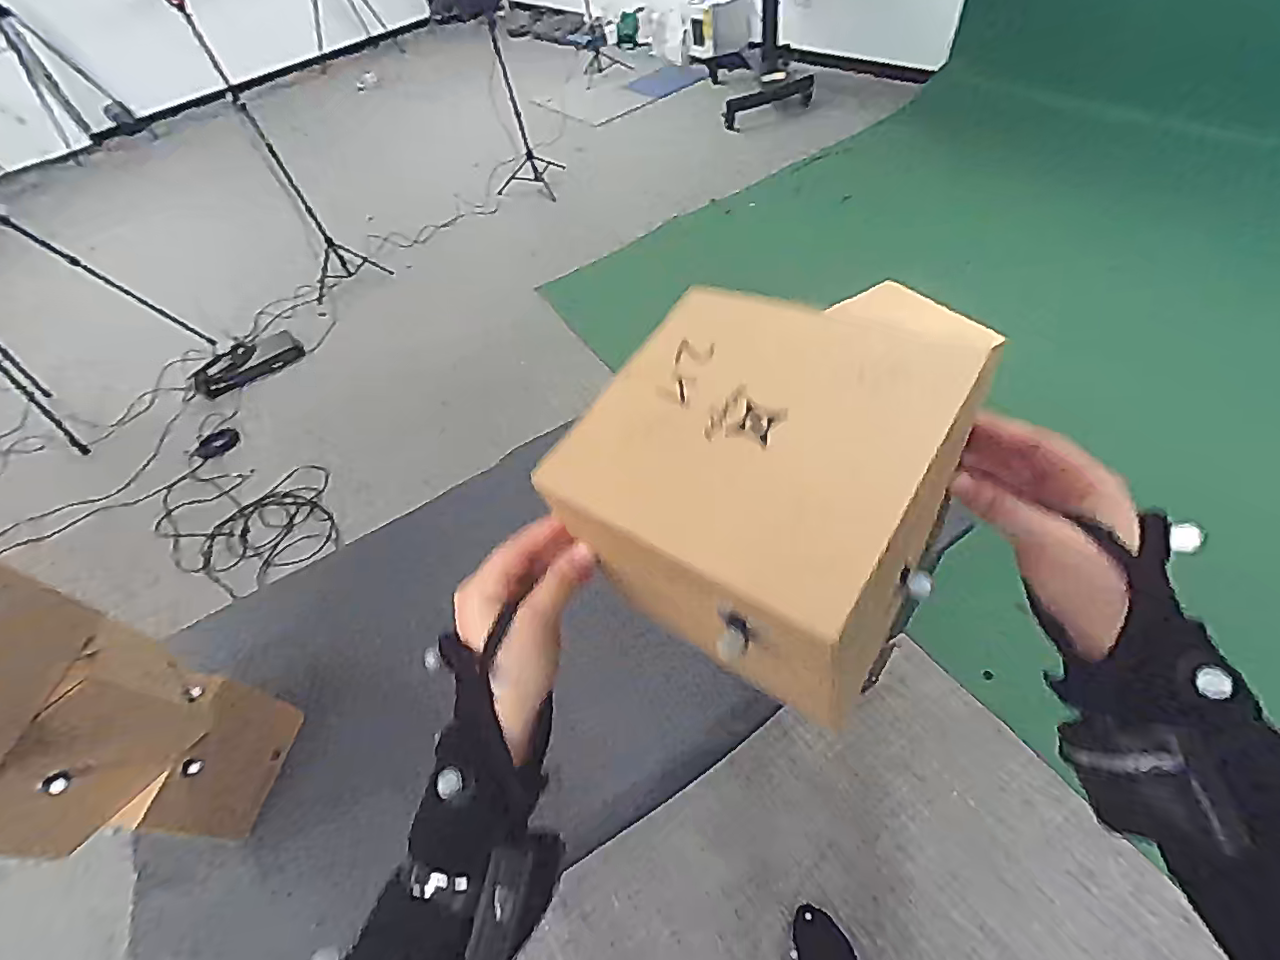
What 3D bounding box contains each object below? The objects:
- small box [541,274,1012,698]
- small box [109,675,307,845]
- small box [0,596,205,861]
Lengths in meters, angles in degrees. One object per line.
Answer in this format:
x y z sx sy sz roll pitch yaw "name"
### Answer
0.081 0.008 0.328 0.179 0.176 0.168 25 67 33 "small box"
-0.593 0.363 0.705 0.179 0.176 0.168 0 52 12 "small box"
-0.618 0.264 0.576 0.168 0.176 0.179 29 63 29 "small box"
